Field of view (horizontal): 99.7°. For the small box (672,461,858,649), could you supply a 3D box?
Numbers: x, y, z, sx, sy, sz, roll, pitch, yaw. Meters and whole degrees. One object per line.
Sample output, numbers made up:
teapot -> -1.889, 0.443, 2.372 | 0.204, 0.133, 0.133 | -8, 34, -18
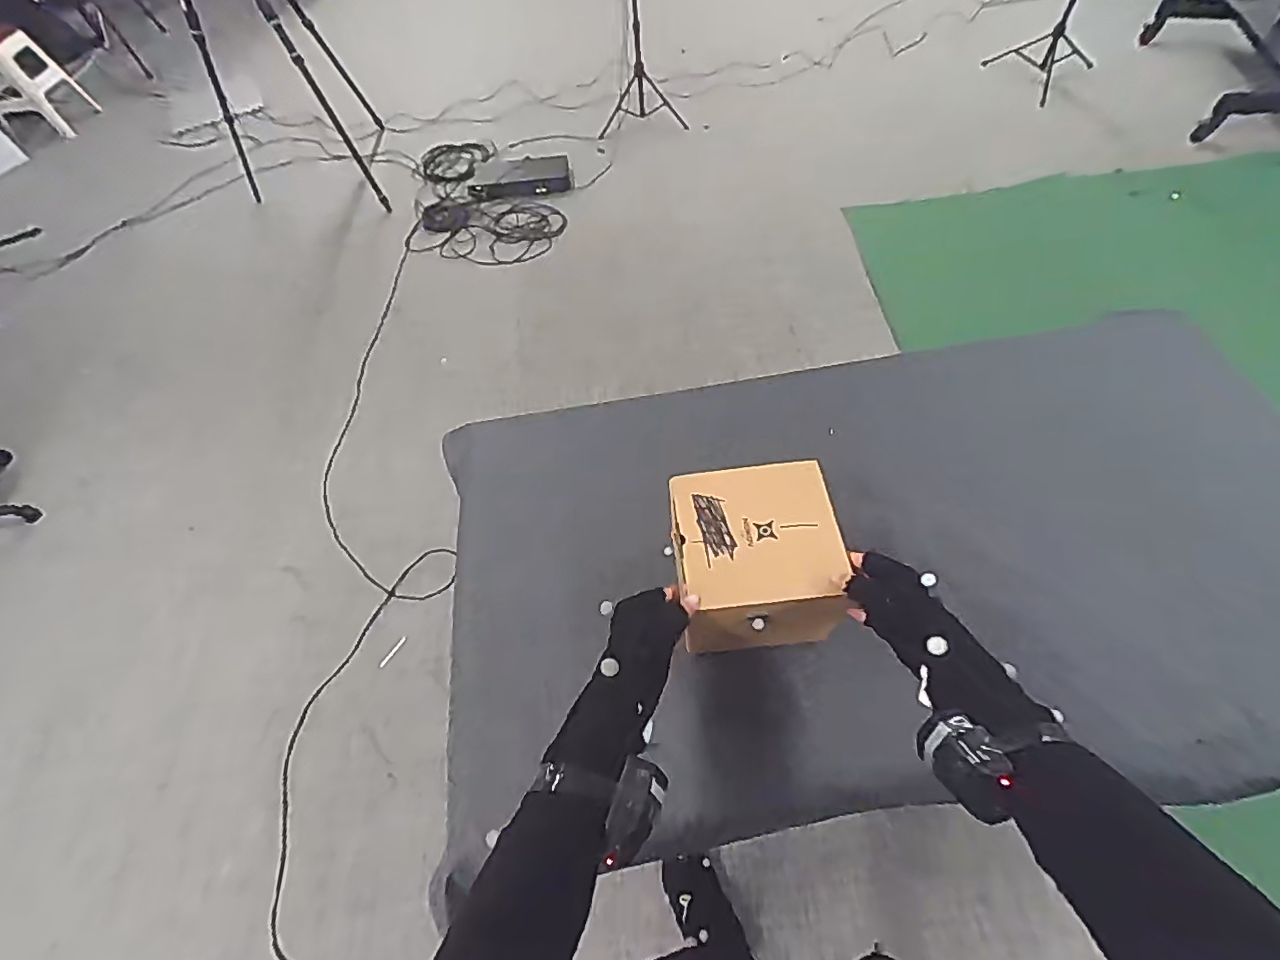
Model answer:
small box -> 0.137, 0.098, 0.658 | 0.179, 0.176, 0.168 | -6, 58, 1
